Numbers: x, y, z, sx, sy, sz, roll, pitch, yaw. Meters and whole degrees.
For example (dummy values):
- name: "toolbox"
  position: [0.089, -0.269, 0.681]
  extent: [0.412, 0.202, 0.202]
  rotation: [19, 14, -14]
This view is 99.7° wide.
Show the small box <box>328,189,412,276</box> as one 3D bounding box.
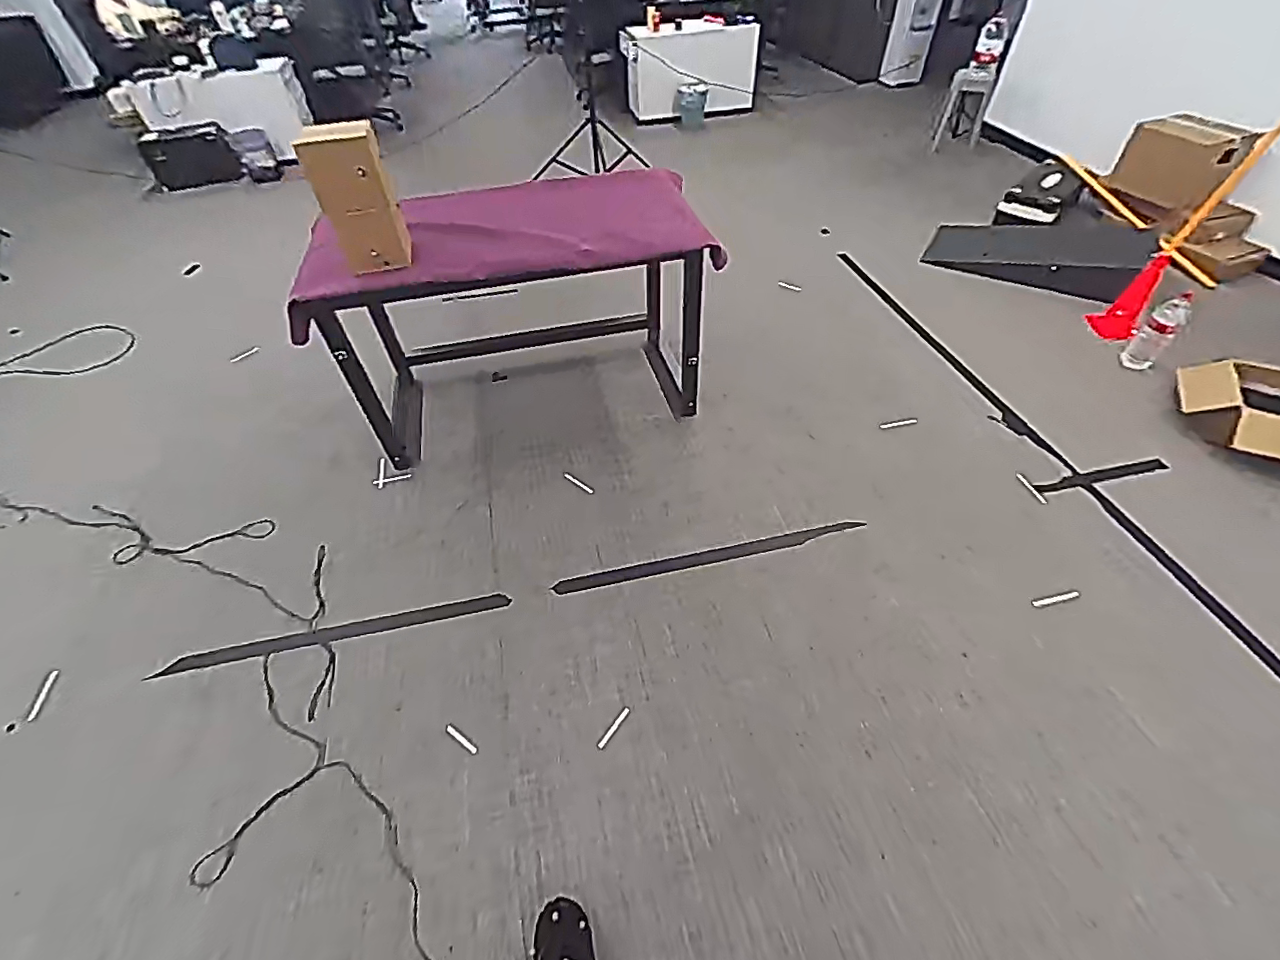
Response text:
- name: "small box"
  position: [-0.772, -0.714, 1.562]
  extent: [0.168, 0.176, 0.179]
  rotation: [-14, 49, -9]

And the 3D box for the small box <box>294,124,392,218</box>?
- name: "small box"
  position: [-0.780, -0.823, 1.442]
  extent: [0.179, 0.176, 0.168]
  rotation: [-15, 47, -9]
